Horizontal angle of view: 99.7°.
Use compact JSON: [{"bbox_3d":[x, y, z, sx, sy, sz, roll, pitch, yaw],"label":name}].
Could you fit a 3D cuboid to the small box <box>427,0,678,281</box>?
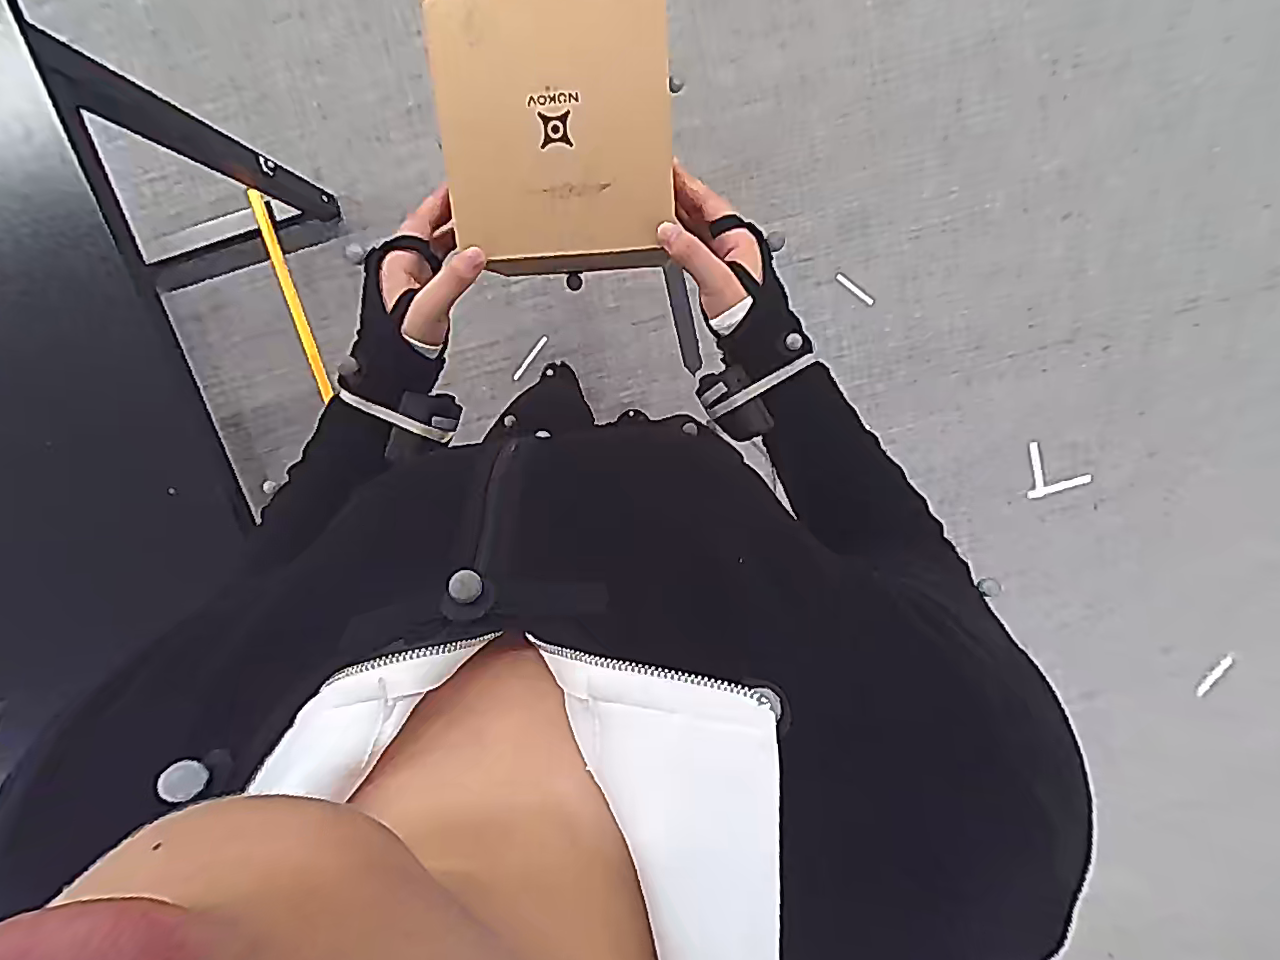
[{"bbox_3d":[-0.057,-0.271,0.457,0.168,0.176,0.179,-3,107,2],"label":"small box"}]
